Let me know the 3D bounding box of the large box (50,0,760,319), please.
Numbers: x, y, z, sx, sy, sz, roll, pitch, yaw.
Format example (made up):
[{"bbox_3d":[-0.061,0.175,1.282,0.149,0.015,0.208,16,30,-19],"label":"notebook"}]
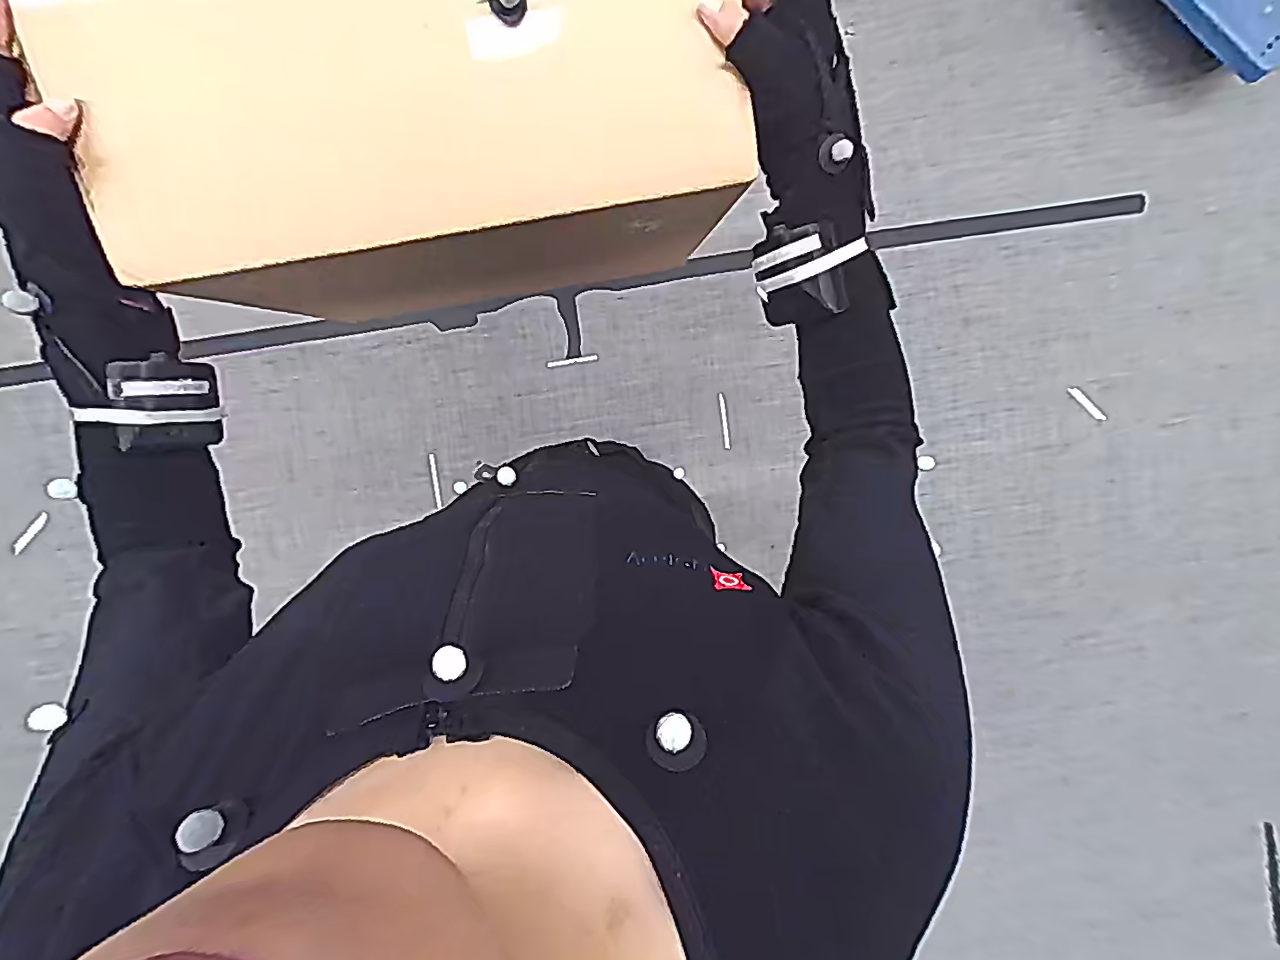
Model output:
[{"bbox_3d":[-0.156,-0.342,0.461,0.408,0.320,0.320,-12,104,-3],"label":"large box"}]
